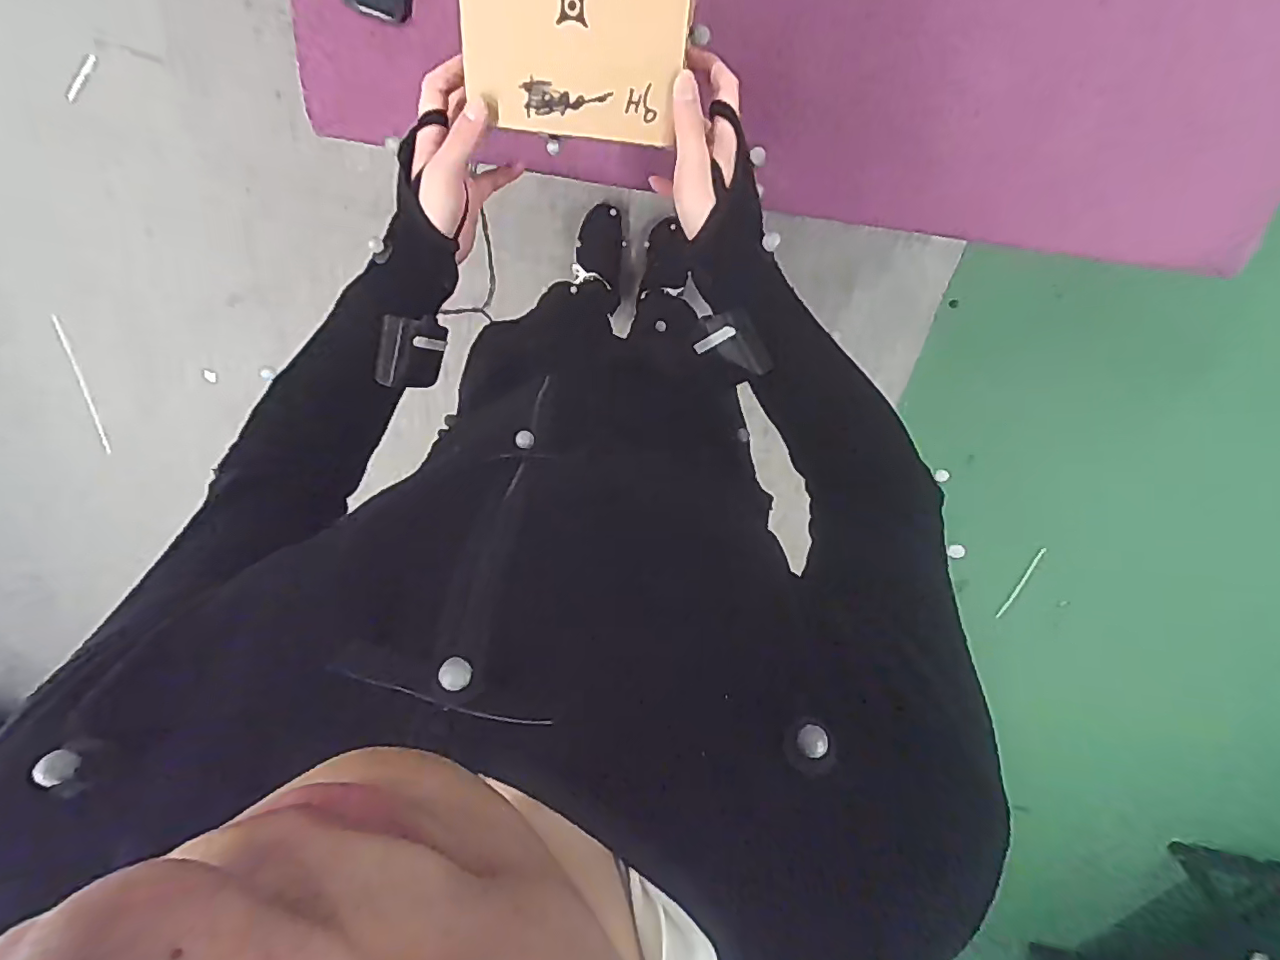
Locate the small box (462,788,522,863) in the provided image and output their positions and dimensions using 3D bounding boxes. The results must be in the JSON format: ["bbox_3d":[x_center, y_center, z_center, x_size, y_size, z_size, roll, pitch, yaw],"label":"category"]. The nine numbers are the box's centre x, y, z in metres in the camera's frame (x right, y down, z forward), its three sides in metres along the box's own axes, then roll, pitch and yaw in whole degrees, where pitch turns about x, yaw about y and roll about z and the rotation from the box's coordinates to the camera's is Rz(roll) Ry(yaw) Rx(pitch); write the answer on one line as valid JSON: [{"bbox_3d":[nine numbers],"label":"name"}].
[{"bbox_3d":[-0.530,1.235,1.920,0.168,0.176,0.179,15,119,-4],"label":"small box"}]

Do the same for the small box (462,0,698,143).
[{"bbox_3d":[-0.038,-0.388,0.441,0.168,0.176,0.179,8,122,1],"label":"small box"}]
